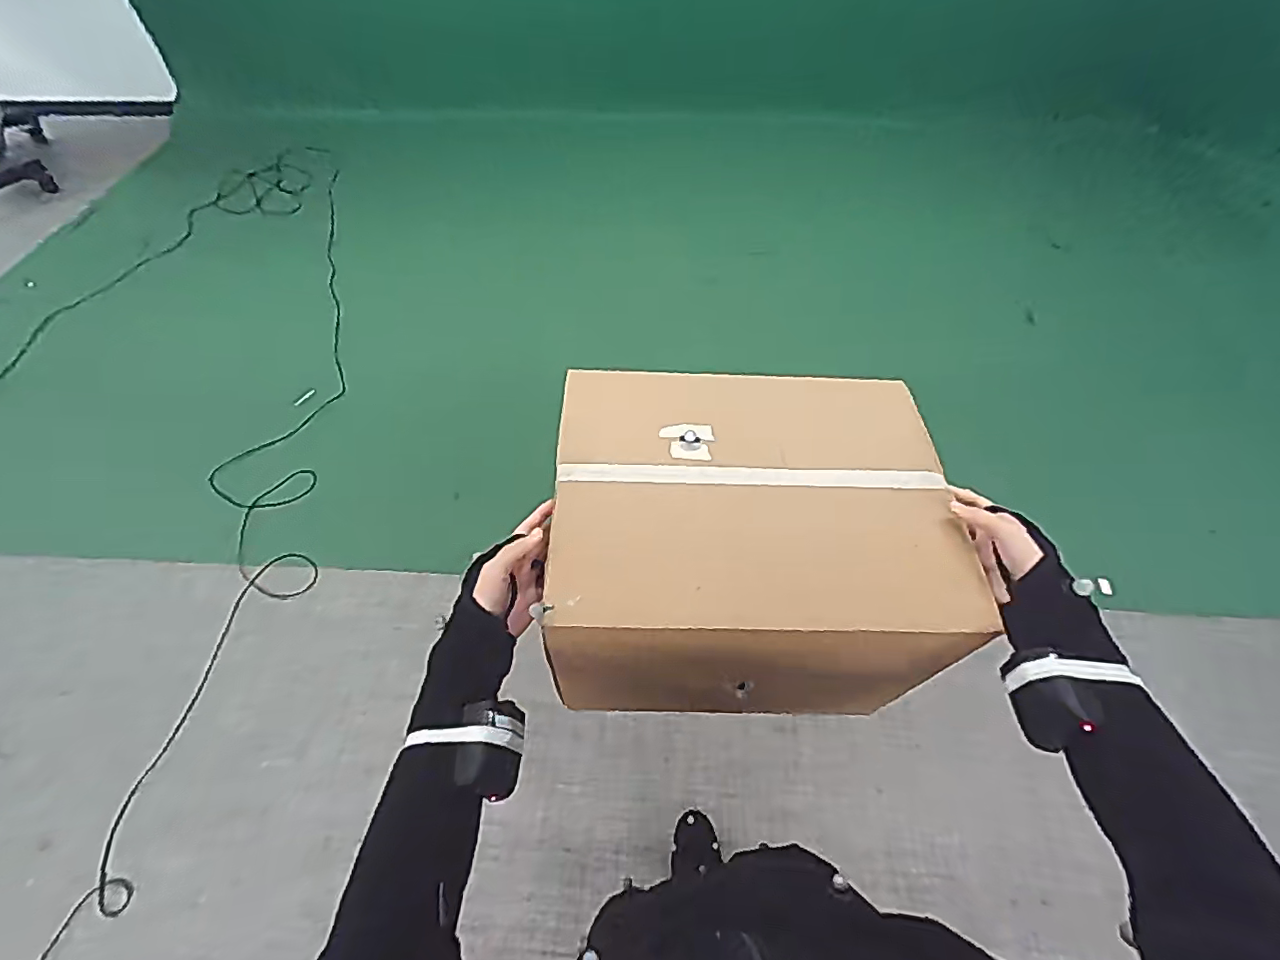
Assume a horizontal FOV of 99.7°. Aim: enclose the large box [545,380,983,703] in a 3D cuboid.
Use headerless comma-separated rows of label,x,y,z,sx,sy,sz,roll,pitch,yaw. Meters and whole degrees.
large box,0.109,0.090,0.686,0.408,0.320,0.320,1,55,-2
